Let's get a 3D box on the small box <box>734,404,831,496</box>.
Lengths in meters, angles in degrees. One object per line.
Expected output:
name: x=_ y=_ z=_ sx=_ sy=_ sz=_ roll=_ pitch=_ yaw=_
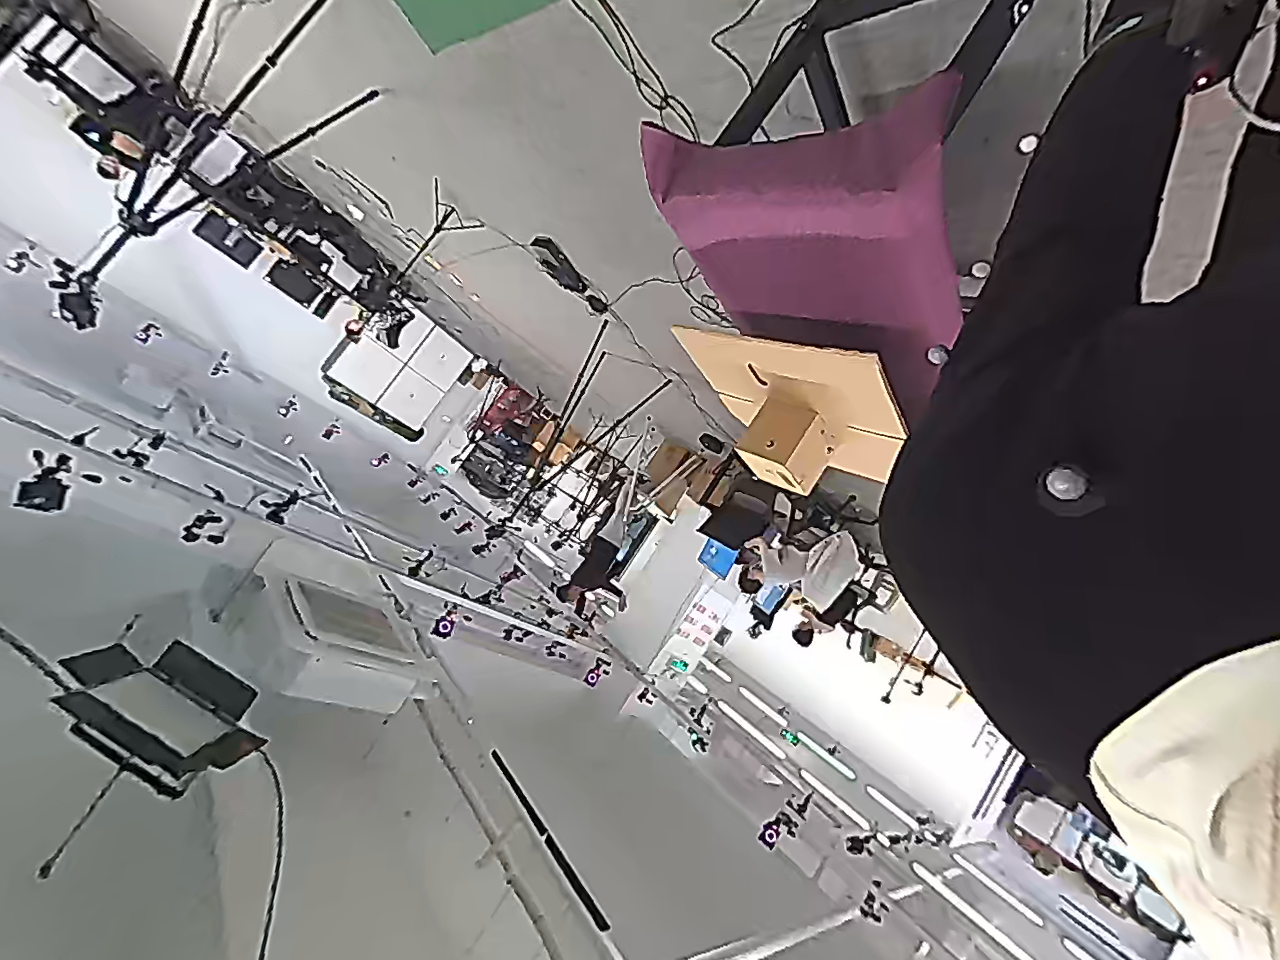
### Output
small box: x=0.395 y=-0.087 z=1.474 sx=0.179 sy=0.176 sz=0.168 roll=27 pitch=169 yaw=47
